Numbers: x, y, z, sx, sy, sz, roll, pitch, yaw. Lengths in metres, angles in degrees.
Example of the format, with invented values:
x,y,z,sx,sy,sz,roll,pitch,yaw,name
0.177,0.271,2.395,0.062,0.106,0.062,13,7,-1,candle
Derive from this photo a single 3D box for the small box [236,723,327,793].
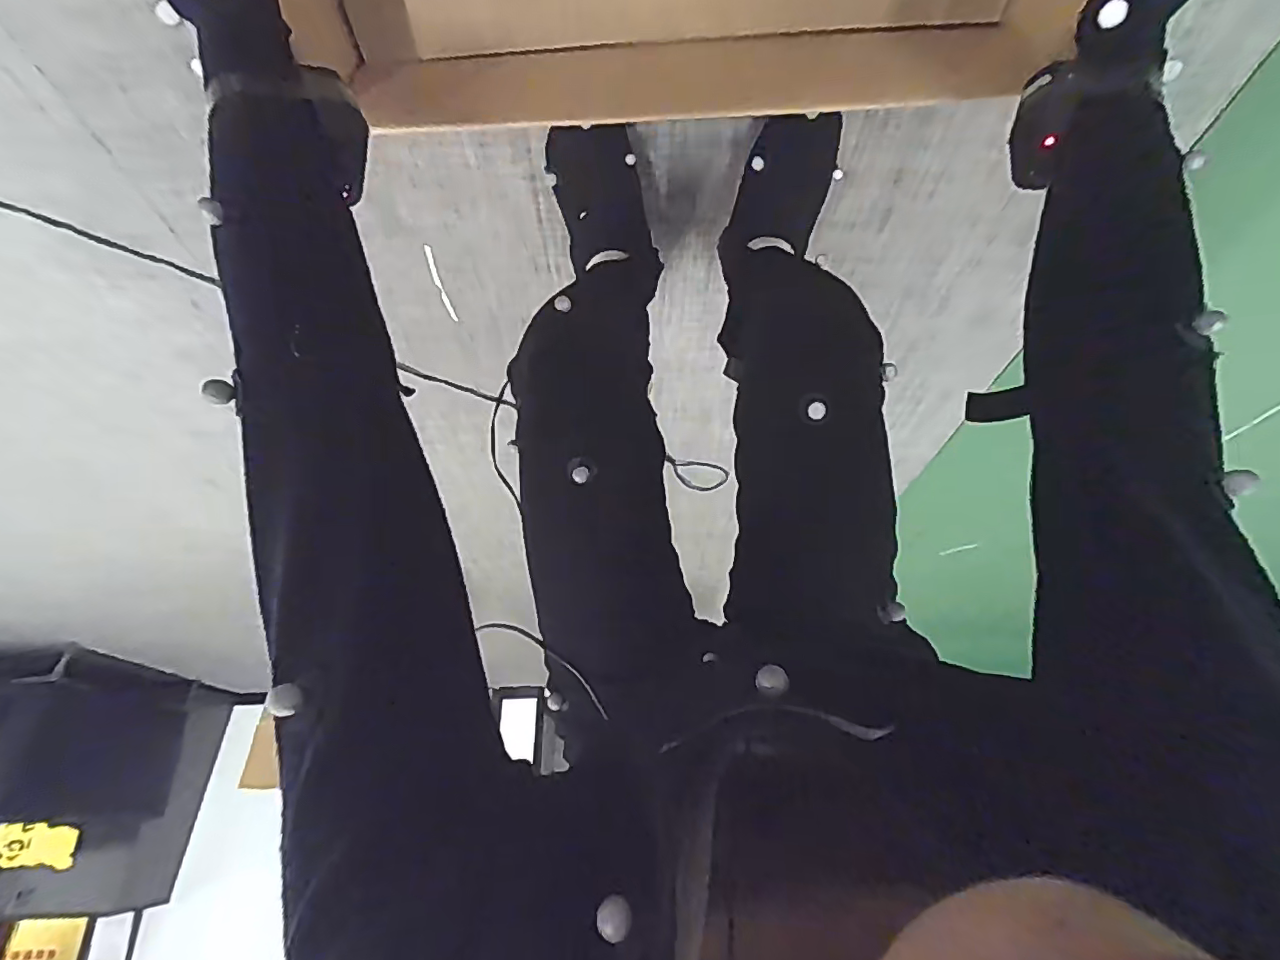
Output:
x,y,z,sx,sy,sz,roll,pitch,yaw,name
-1.030,0.812,1.571,0.168,0.176,0.179,9,147,-17,small box
